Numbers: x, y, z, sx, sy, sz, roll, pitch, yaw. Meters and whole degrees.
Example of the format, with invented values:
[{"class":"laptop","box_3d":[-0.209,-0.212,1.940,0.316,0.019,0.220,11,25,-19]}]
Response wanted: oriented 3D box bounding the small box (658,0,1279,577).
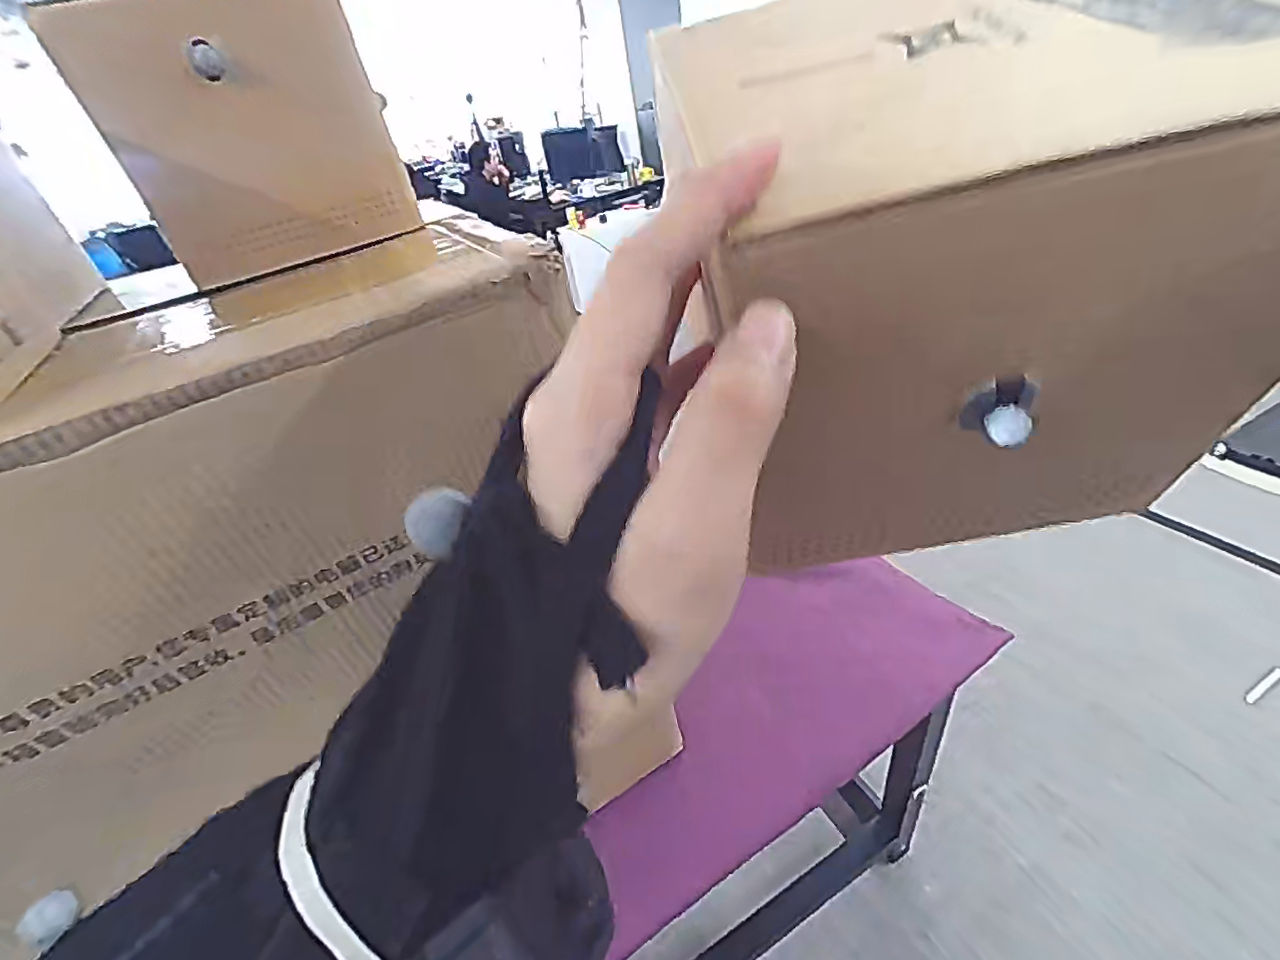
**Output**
[{"class":"small box","box_3d":[0.113,-0.077,0.234,0.179,0.176,0.168,-11,52,6]}]
